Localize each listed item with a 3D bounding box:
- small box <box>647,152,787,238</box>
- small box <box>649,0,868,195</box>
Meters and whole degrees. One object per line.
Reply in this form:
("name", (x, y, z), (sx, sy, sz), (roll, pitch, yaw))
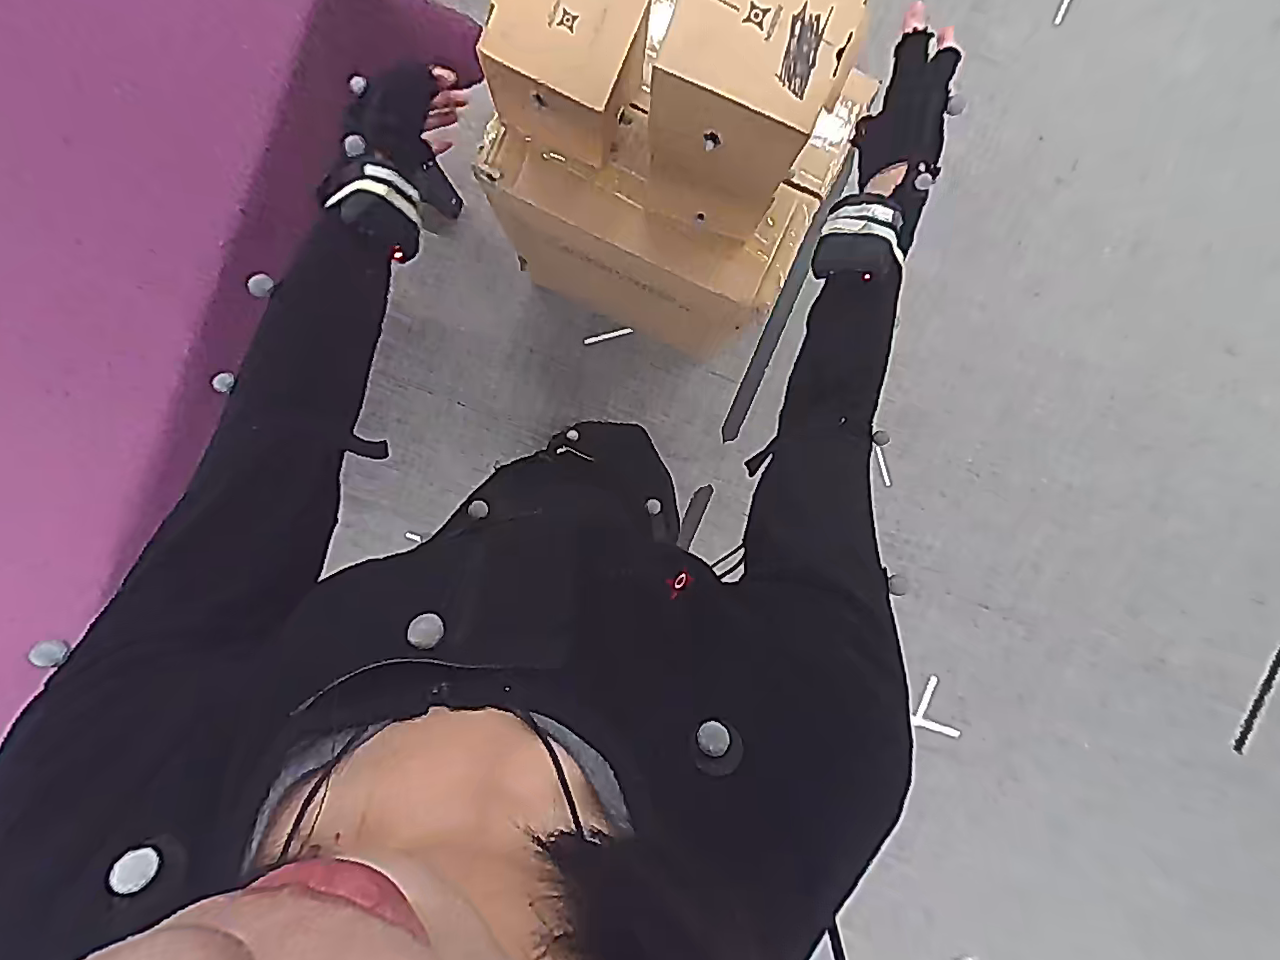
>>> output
("small box", (0.117, -0.474, 0.780), (0.179, 0.176, 0.168), (17, 94, -3))
("small box", (0.120, -0.459, 0.616), (0.179, 0.176, 0.168), (22, 94, -2))
